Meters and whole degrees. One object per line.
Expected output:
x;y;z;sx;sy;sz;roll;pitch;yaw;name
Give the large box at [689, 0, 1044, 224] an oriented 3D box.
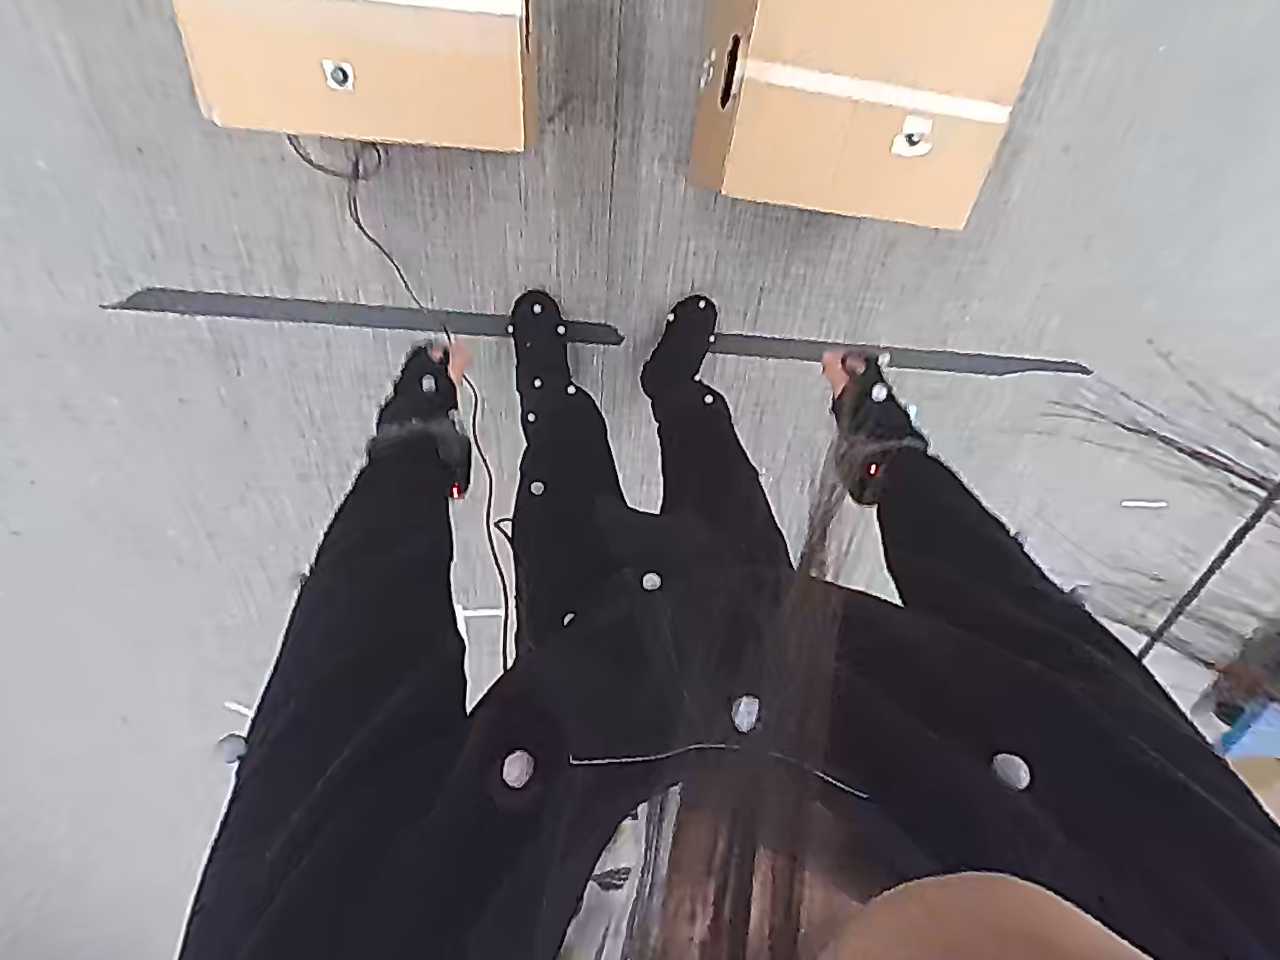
0.322;-0.631;0.895;0.408;0.320;0.320;4;121;-10;large box
